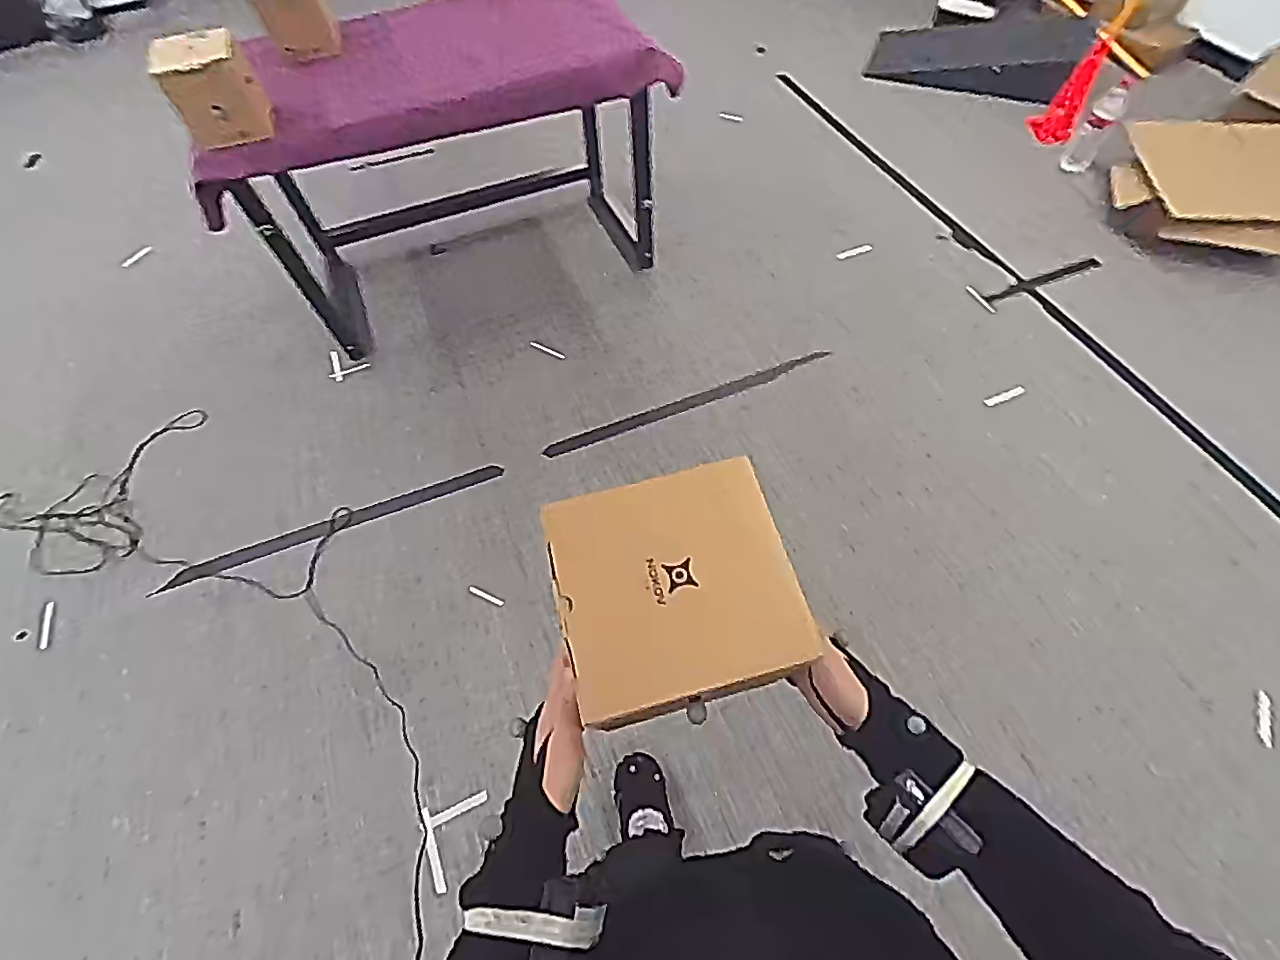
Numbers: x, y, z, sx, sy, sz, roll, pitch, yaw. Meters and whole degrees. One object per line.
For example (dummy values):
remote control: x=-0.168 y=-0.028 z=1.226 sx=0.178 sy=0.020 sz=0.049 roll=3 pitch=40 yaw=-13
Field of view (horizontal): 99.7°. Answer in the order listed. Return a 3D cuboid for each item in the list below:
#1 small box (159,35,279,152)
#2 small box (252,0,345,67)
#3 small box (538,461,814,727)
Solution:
small box: x=-0.997 y=-0.915 z=1.294 sx=0.168 sy=0.176 sz=0.179 roll=-19 pitch=62 yaw=-9
small box: x=-0.943 y=-1.282 z=1.500 sx=0.168 sy=0.176 sz=0.179 roll=-18 pitch=62 yaw=-8
small box: x=0.024 y=0.108 z=0.478 sx=0.179 sy=0.176 sz=0.168 roll=-15 pitch=65 yaw=-3
